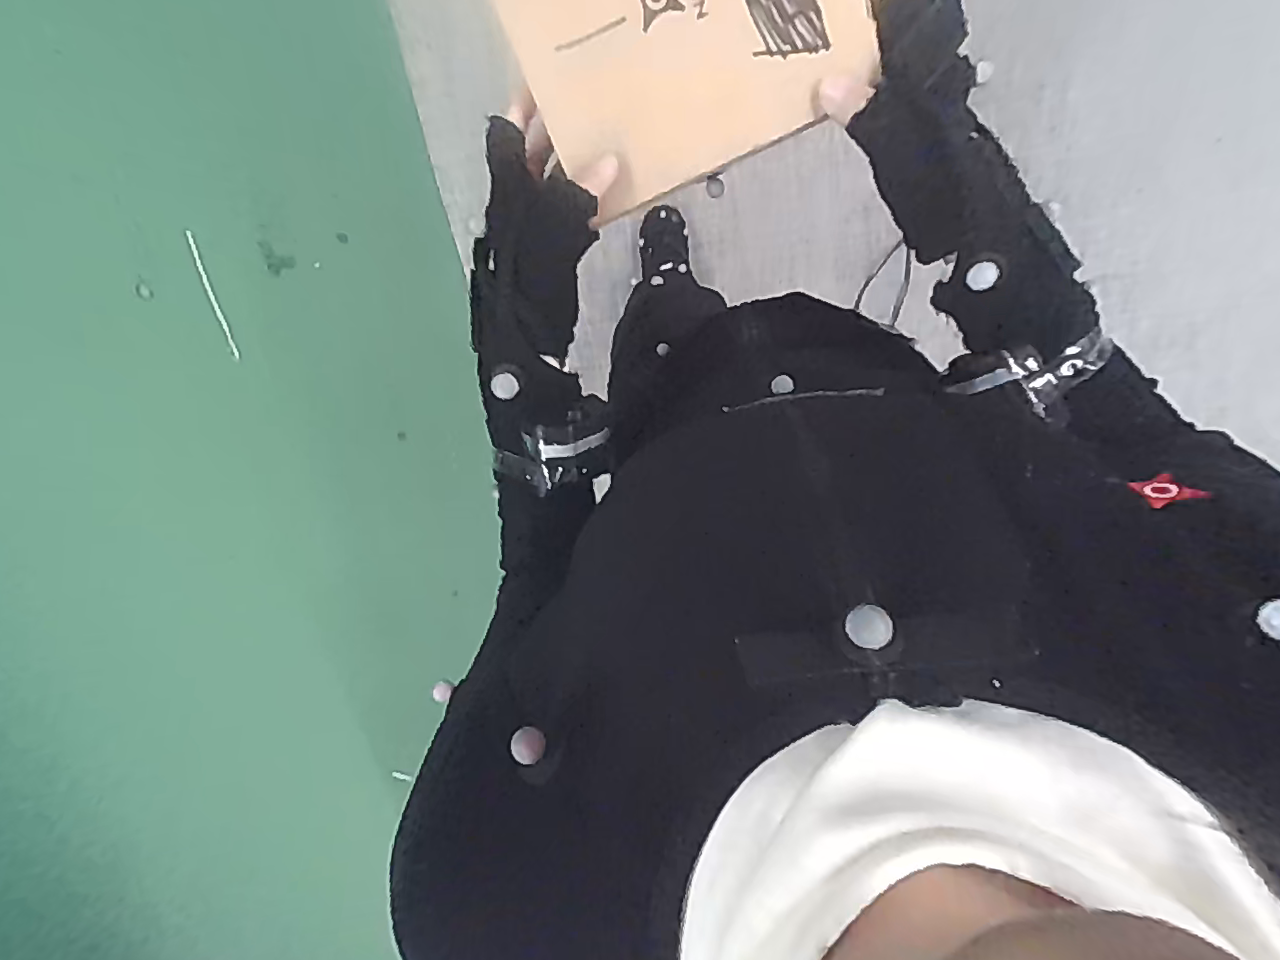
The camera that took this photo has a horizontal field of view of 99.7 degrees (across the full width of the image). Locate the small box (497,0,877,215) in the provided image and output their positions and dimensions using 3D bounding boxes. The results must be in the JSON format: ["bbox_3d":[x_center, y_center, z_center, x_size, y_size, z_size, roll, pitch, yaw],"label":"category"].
[{"bbox_3d":[0.023,-0.288,0.340,0.179,0.176,0.168,-17,115,15],"label":"small box"}]
